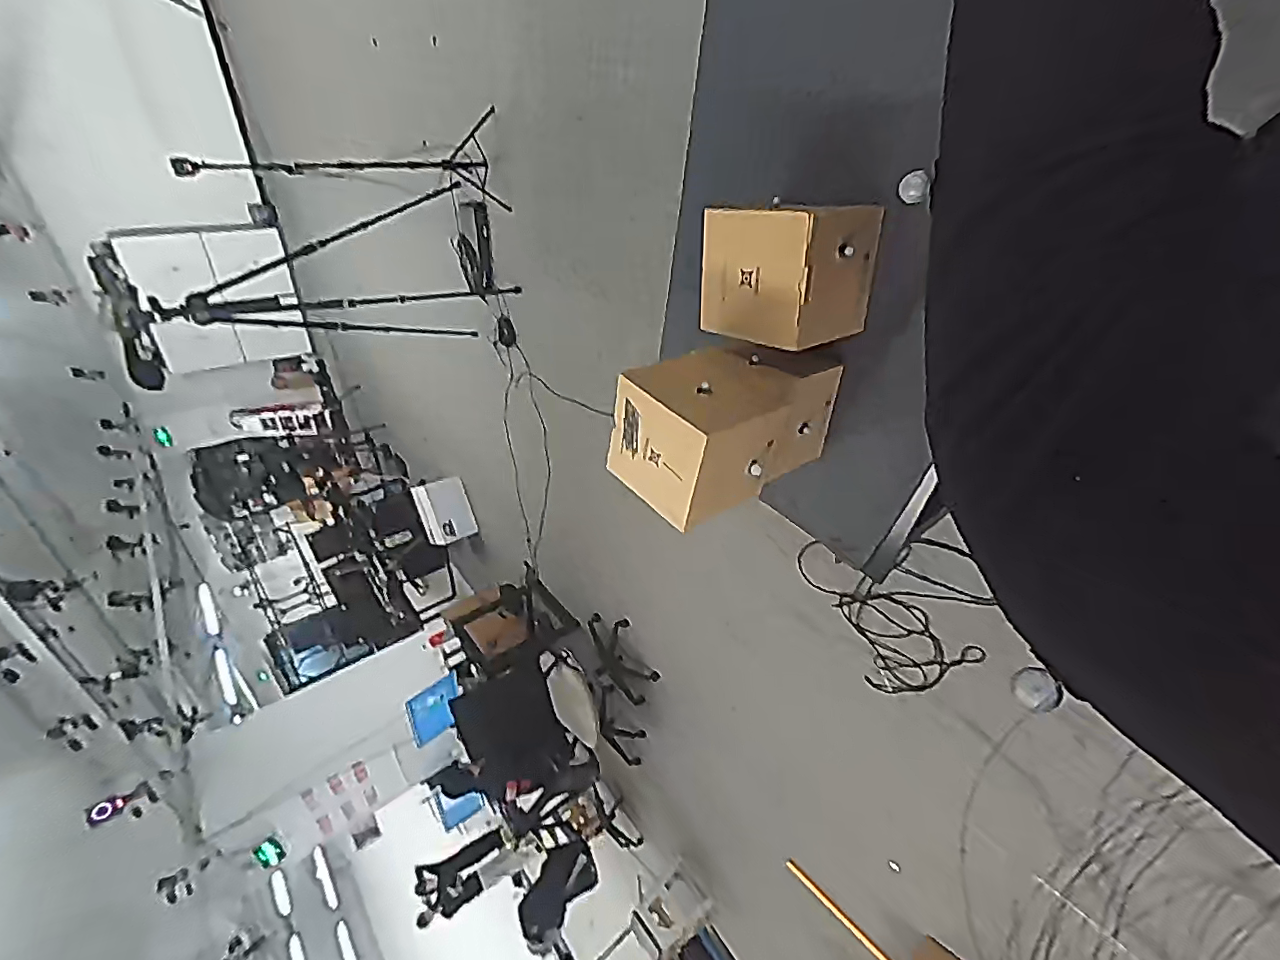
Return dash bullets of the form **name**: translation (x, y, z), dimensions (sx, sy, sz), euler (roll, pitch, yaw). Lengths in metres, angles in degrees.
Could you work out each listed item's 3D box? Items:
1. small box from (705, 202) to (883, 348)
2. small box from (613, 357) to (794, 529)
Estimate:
- **small box**: translation (0.213, -0.298, 0.765), dimensions (0.179, 0.176, 0.168), euler (29, 130, 43)
- **small box**: translation (0.086, -0.065, 0.779), dimensions (0.179, 0.176, 0.168), euler (40, 137, 33)
